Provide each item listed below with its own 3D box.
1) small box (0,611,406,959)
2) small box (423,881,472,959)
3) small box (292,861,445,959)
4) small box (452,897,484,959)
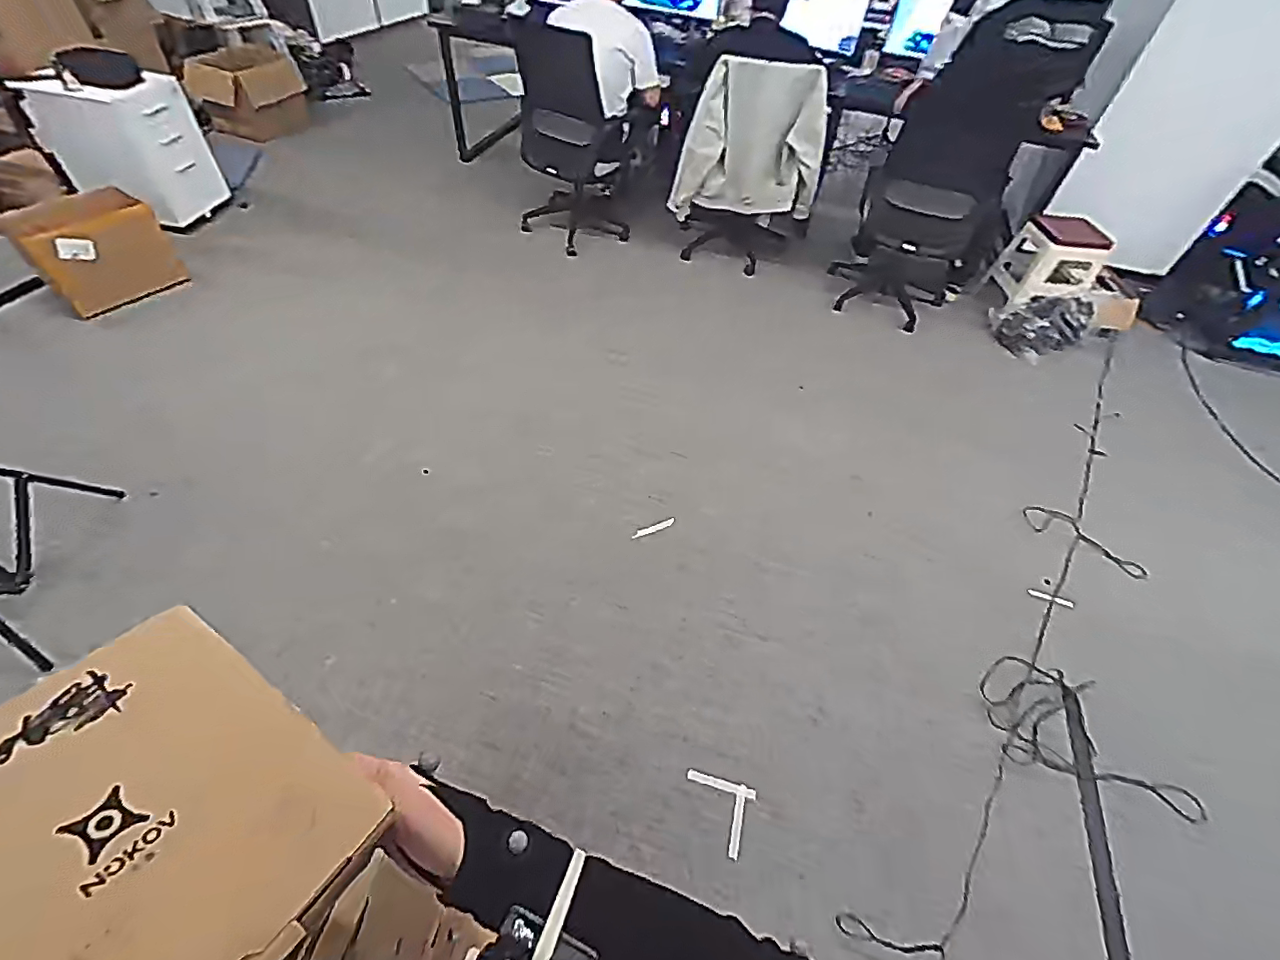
[{"bbox_3d":[-0.266,0.215,0.301,0.179,0.176,0.168,41,41,5],"label":"small box"},{"bbox_3d":[-0.341,0.614,0.710,0.179,0.176,0.168,13,48,6],"label":"small box"},{"bbox_3d":[-0.332,0.509,0.583,0.179,0.176,0.168,10,48,2],"label":"small box"},{"bbox_3d":[-0.361,0.720,0.831,0.179,0.176,0.168,15,50,6],"label":"small box"}]
